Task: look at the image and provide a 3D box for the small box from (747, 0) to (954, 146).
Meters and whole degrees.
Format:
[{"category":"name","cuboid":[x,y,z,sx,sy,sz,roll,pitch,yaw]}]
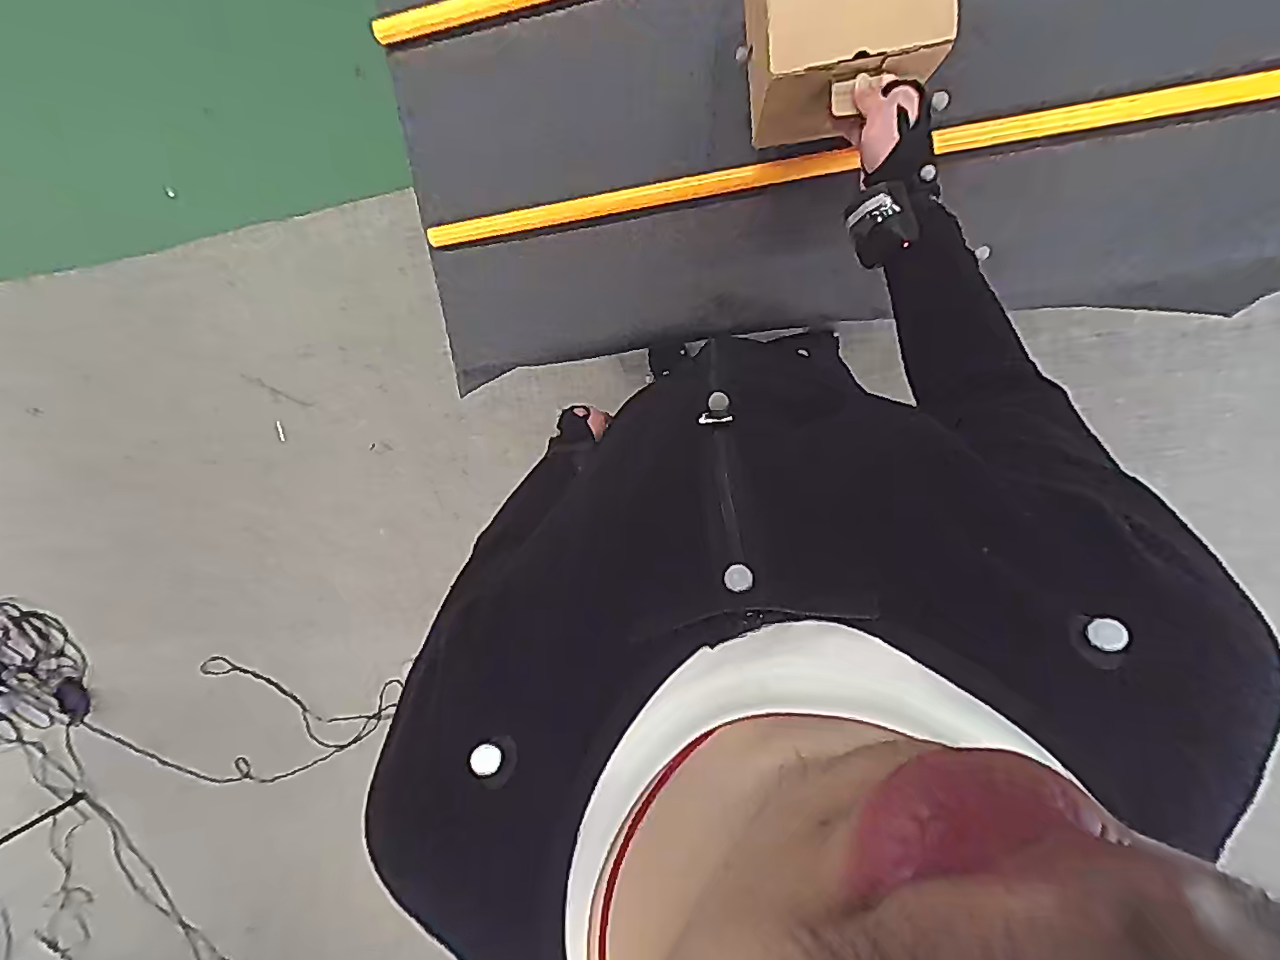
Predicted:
[{"category":"small box","cuboid":[0.207,-0.481,0.568,0.168,0.176,0.179,-8,101,9]}]
